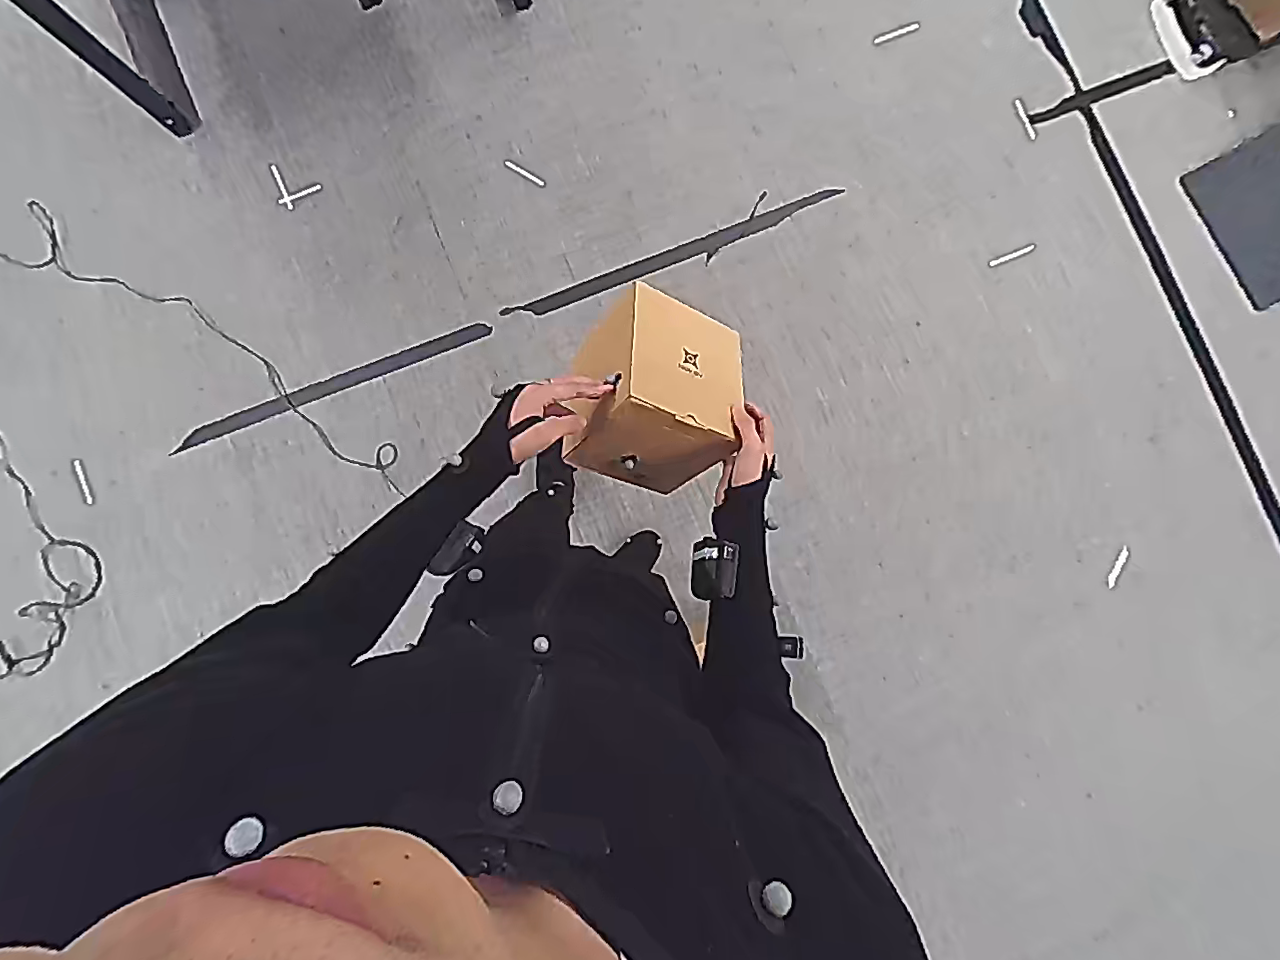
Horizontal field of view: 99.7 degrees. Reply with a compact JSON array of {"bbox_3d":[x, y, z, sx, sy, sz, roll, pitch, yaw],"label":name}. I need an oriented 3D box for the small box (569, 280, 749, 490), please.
[{"bbox_3d":[0.020,-0.111,0.698,0.168,0.176,0.179,17,59,-26],"label":"small box"}]
